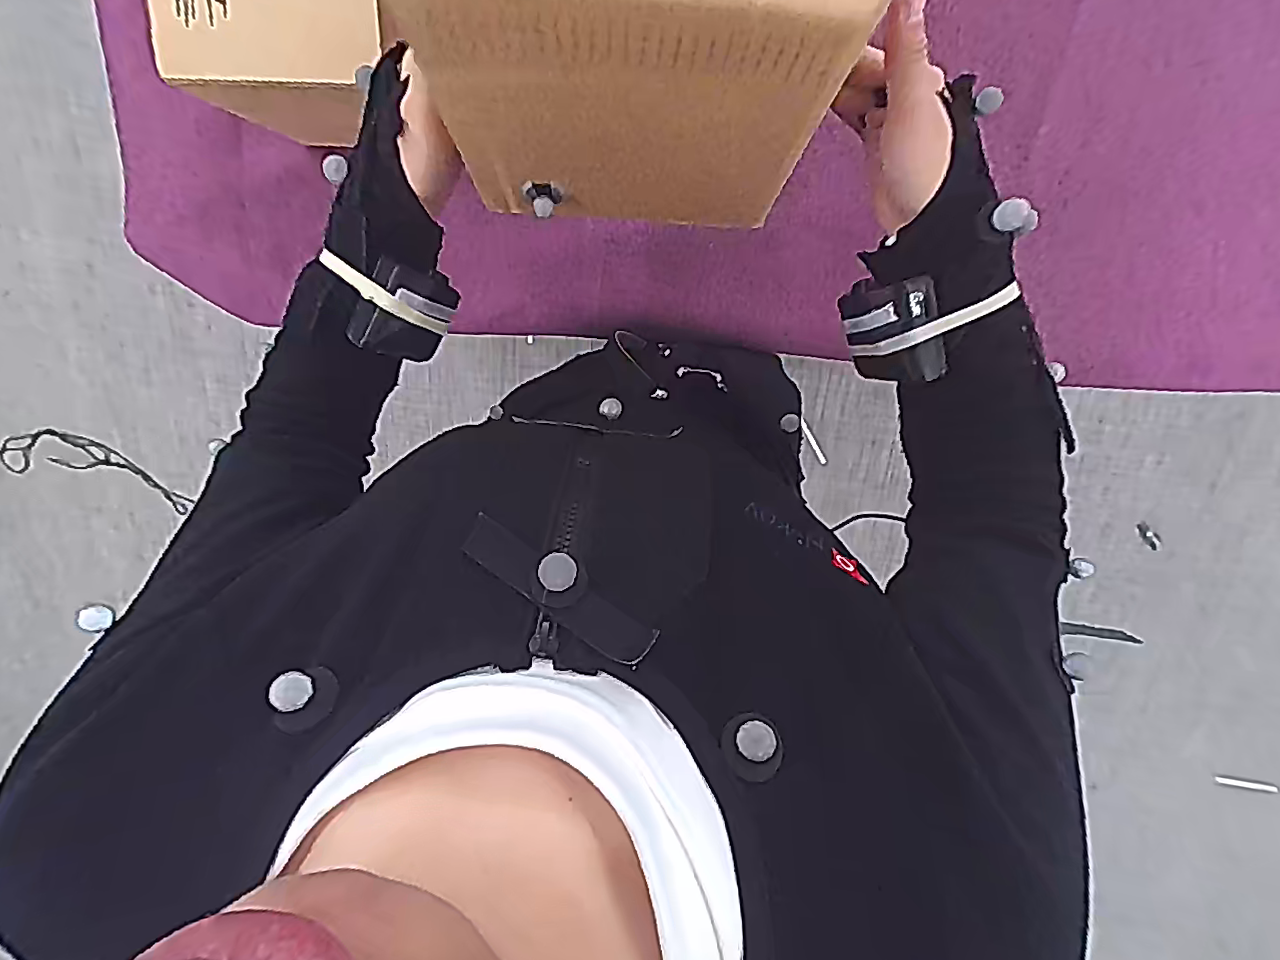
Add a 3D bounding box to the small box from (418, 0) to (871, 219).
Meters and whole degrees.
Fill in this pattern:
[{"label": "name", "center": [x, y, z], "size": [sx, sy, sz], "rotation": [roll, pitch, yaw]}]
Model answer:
[{"label": "small box", "center": [-0.001, -0.247, 0.252], "size": [0.179, 0.176, 0.168], "rotation": [2, 87, -4]}]
